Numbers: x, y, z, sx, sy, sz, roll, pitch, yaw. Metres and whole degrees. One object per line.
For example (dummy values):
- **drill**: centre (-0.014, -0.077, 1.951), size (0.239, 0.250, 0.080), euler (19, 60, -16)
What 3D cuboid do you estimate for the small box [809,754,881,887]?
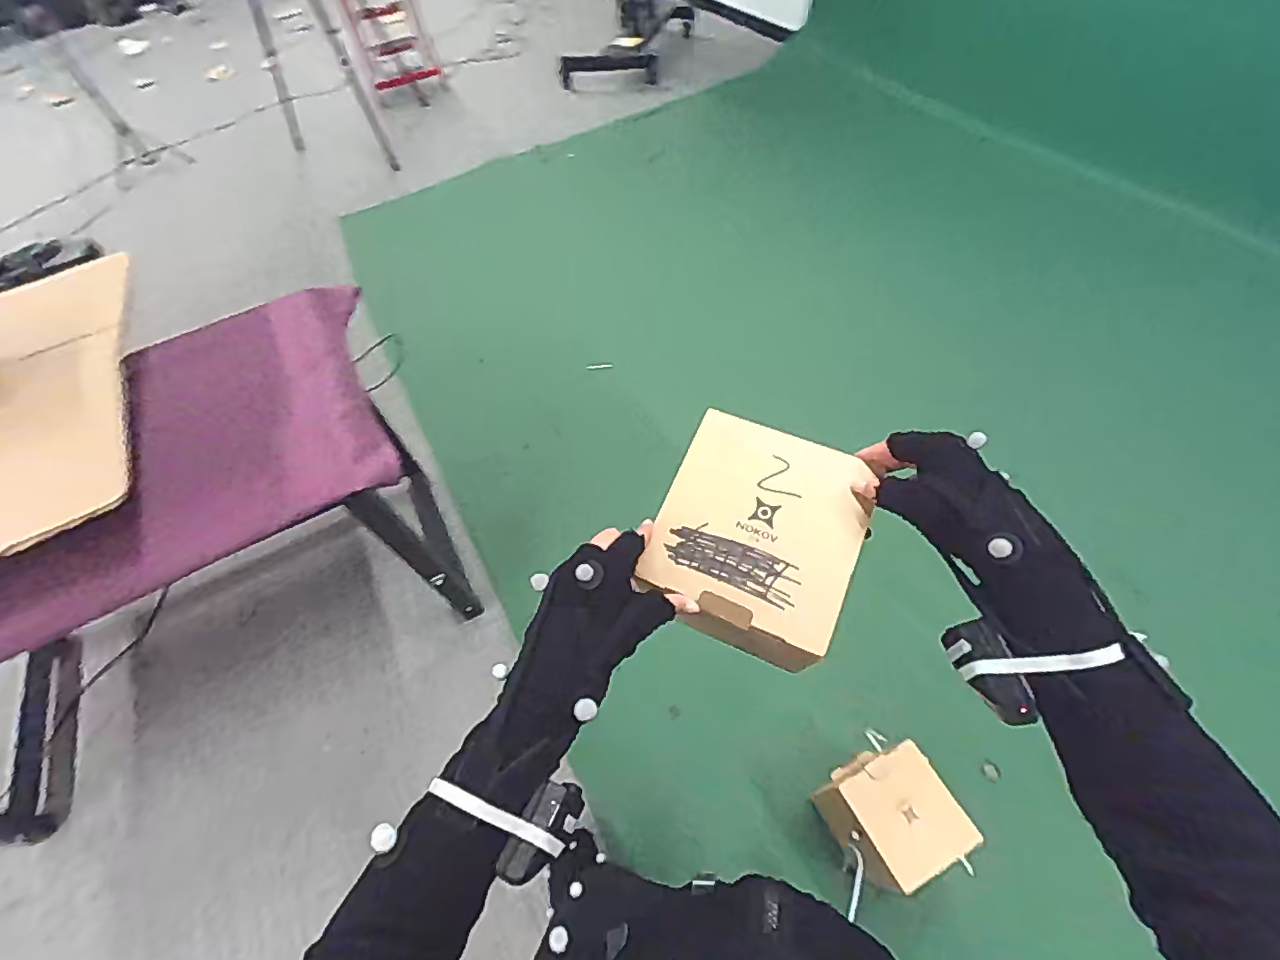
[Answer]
- **small box**: centre (0.480, 0.705, 1.129), size (0.168, 0.176, 0.179), euler (-26, 58, -11)

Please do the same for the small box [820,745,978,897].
- **small box**: centre (0.460, 0.618, 0.991), size (0.168, 0.176, 0.179), euler (-25, 57, -11)
